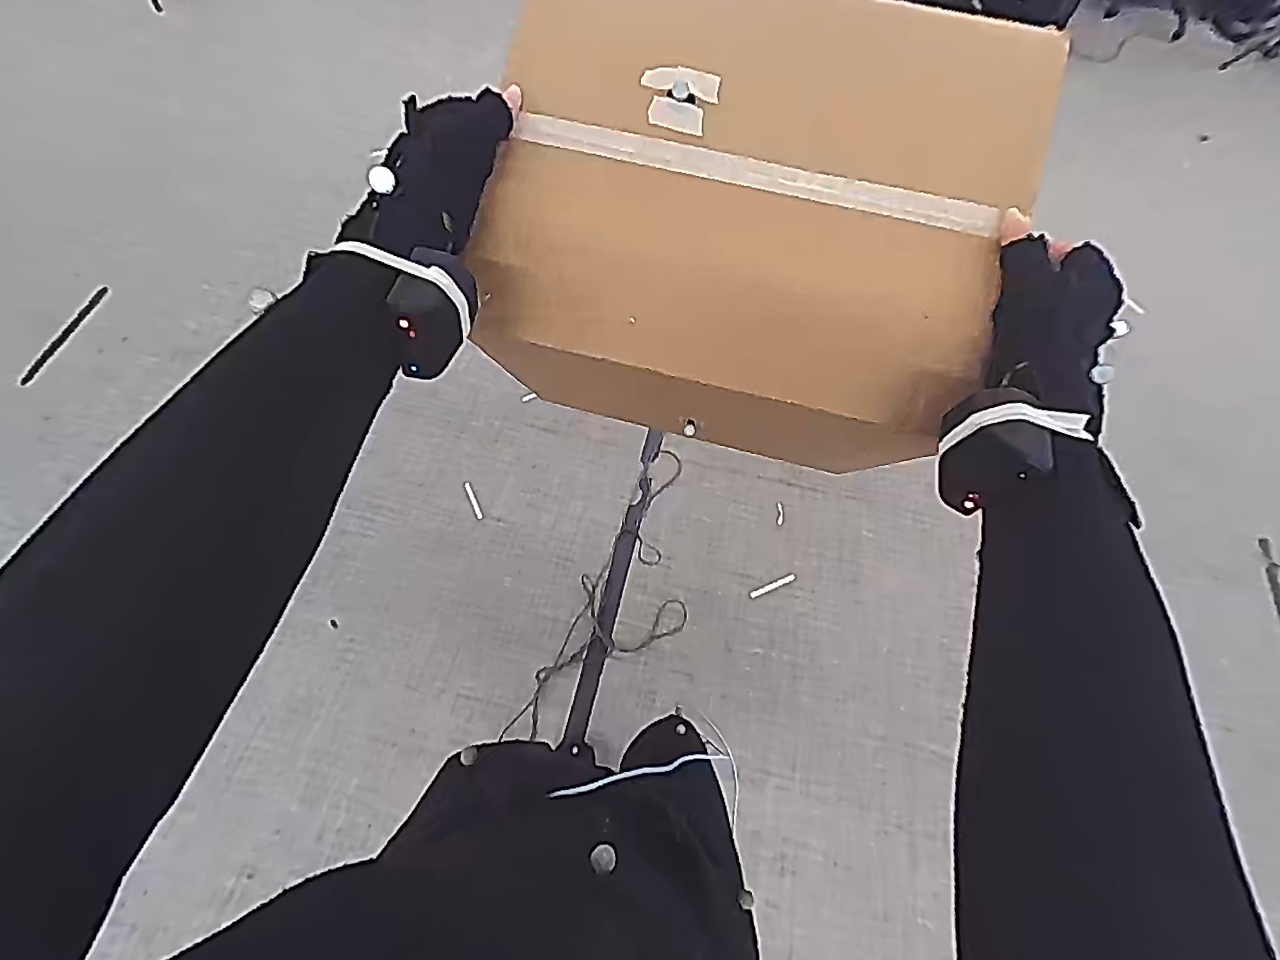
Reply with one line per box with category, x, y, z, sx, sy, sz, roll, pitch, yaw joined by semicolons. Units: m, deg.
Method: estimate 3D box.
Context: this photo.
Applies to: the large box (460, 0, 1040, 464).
large box;0.093;-0.216;0.573;0.408;0.320;0.320;15;87;5
